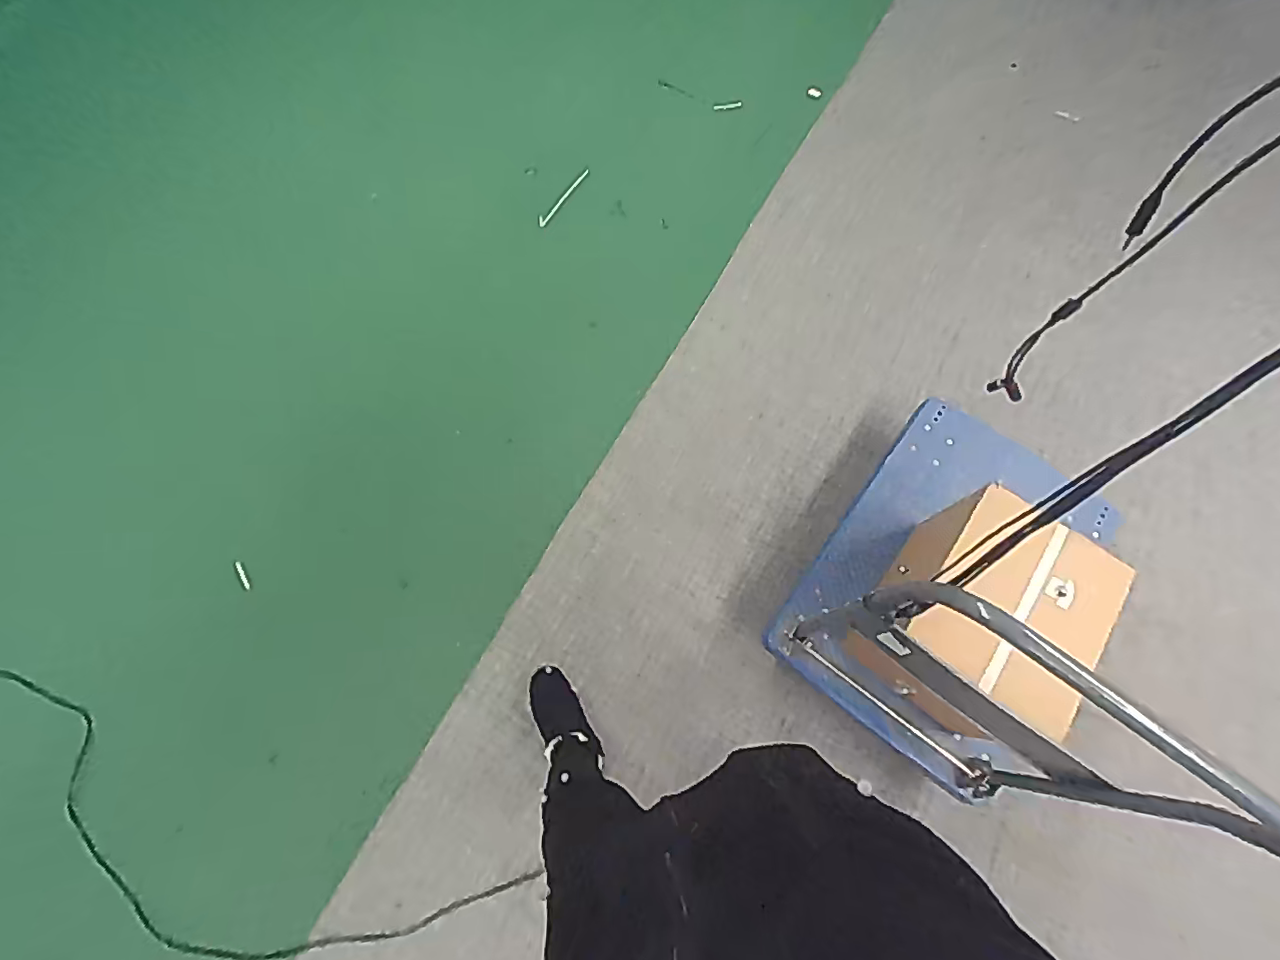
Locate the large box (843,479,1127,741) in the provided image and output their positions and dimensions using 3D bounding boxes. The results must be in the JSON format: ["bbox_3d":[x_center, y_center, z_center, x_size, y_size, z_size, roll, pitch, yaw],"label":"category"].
[{"bbox_3d":[0.712,0.282,1.166,0.320,0.320,0.408,37,72,11],"label":"large box"}]
